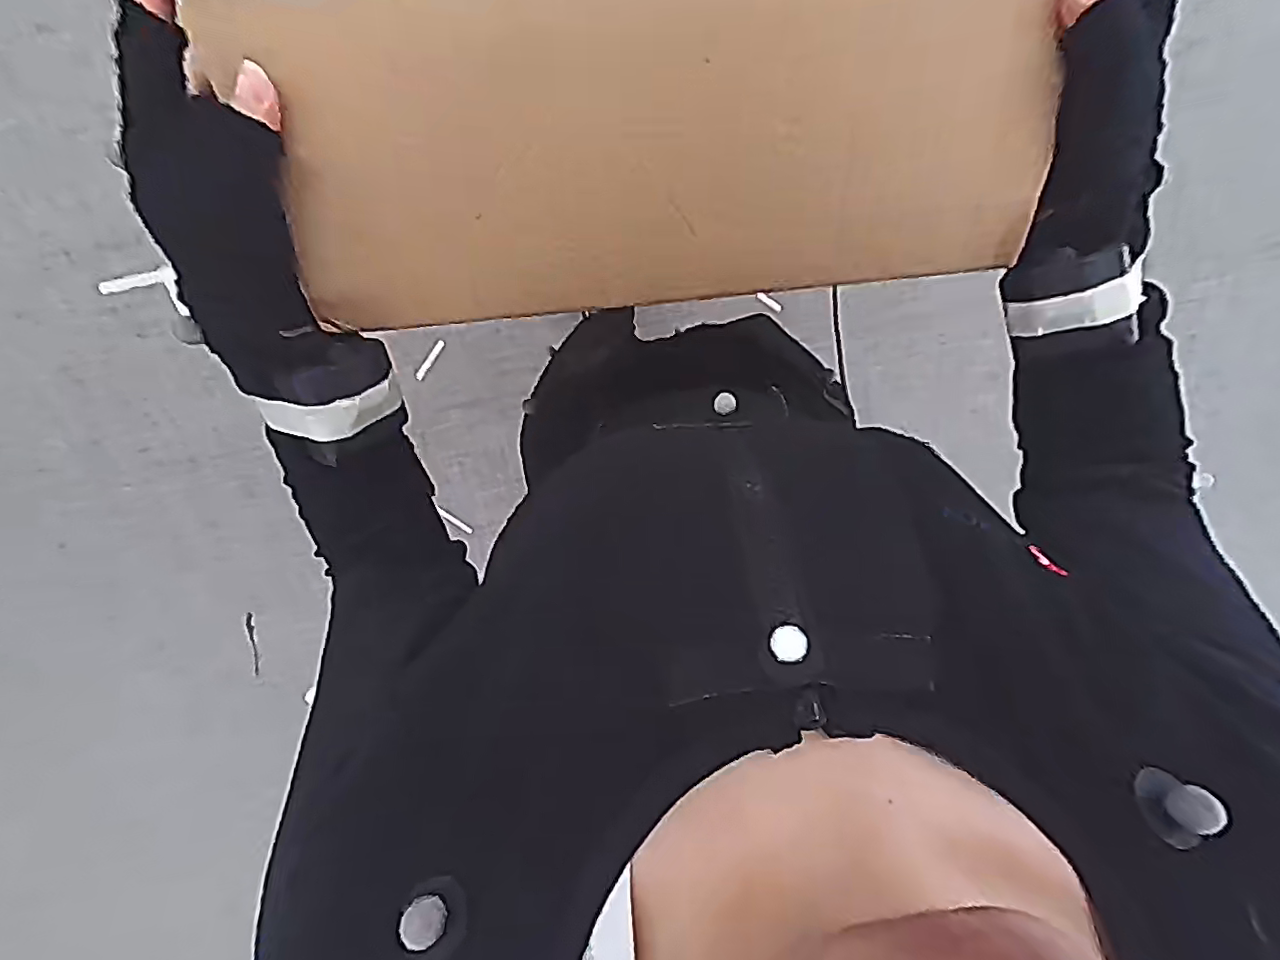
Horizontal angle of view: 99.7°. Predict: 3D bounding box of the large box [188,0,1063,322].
[{"bbox_3d":[-0.009,-0.326,0.346,0.408,0.320,0.320,-7,127,-3],"label":"large box"}]
